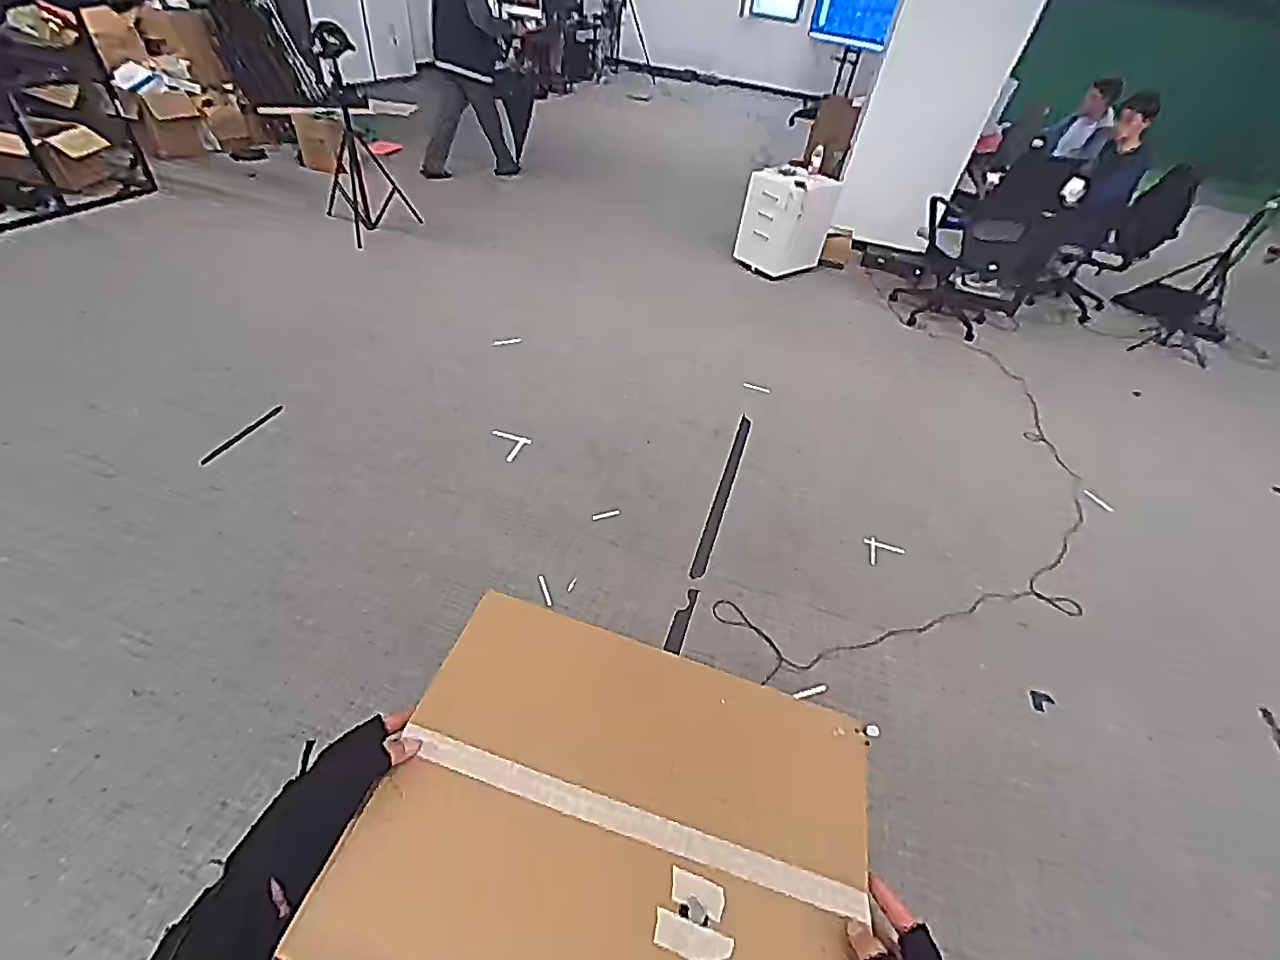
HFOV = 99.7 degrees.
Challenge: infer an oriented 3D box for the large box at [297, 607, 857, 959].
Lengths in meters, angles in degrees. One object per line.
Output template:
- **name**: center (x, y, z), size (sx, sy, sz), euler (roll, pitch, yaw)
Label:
- **large box**: center (-0.038, 0.394, 0.560), size (0.408, 0.320, 0.320), euler (18, 46, 4)
